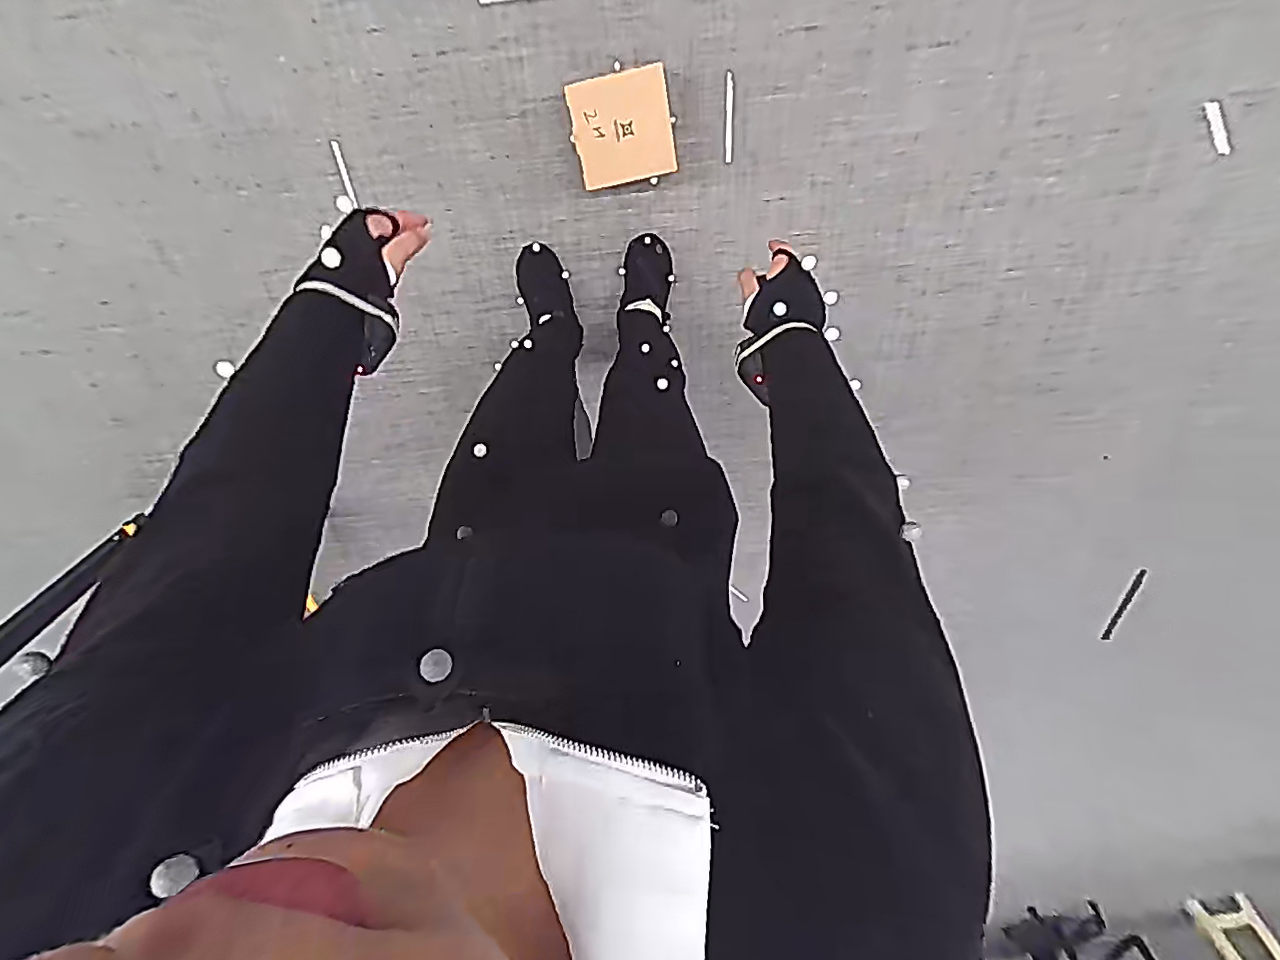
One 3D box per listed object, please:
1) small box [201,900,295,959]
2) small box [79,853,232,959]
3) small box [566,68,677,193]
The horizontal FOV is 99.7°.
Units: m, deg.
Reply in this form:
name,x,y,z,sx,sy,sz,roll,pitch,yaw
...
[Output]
name,x,y,z,sx,sy,sz,roll,pitch,yaw
small box,-1.047,1.221,1.400,0.179,0.176,0.168,-5,125,1
small box,-1.080,0.977,1.232,0.179,0.176,0.168,-3,124,0
small box,-0.033,-0.662,1.026,0.179,0.176,0.168,-10,124,5
